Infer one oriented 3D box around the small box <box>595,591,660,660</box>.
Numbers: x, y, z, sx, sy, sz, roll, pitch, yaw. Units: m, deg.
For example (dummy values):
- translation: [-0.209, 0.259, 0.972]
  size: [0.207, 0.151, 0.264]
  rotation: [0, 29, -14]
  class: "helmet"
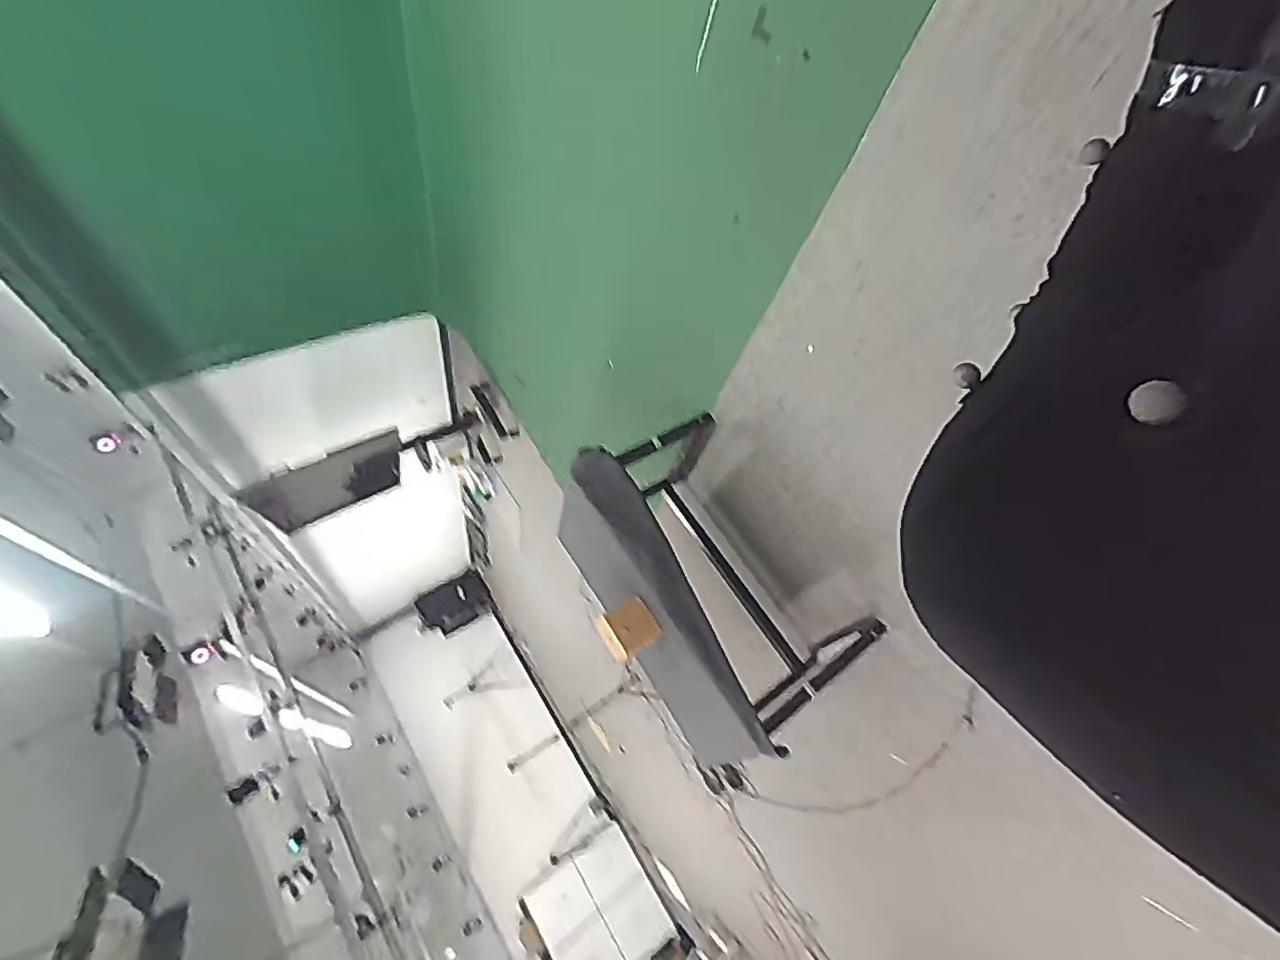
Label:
- translation: [-0.047, 0.557, 2.076]
  size: [0.179, 0.176, 0.168]
  rotation: [56, 152, 17]
  class: "small box"
